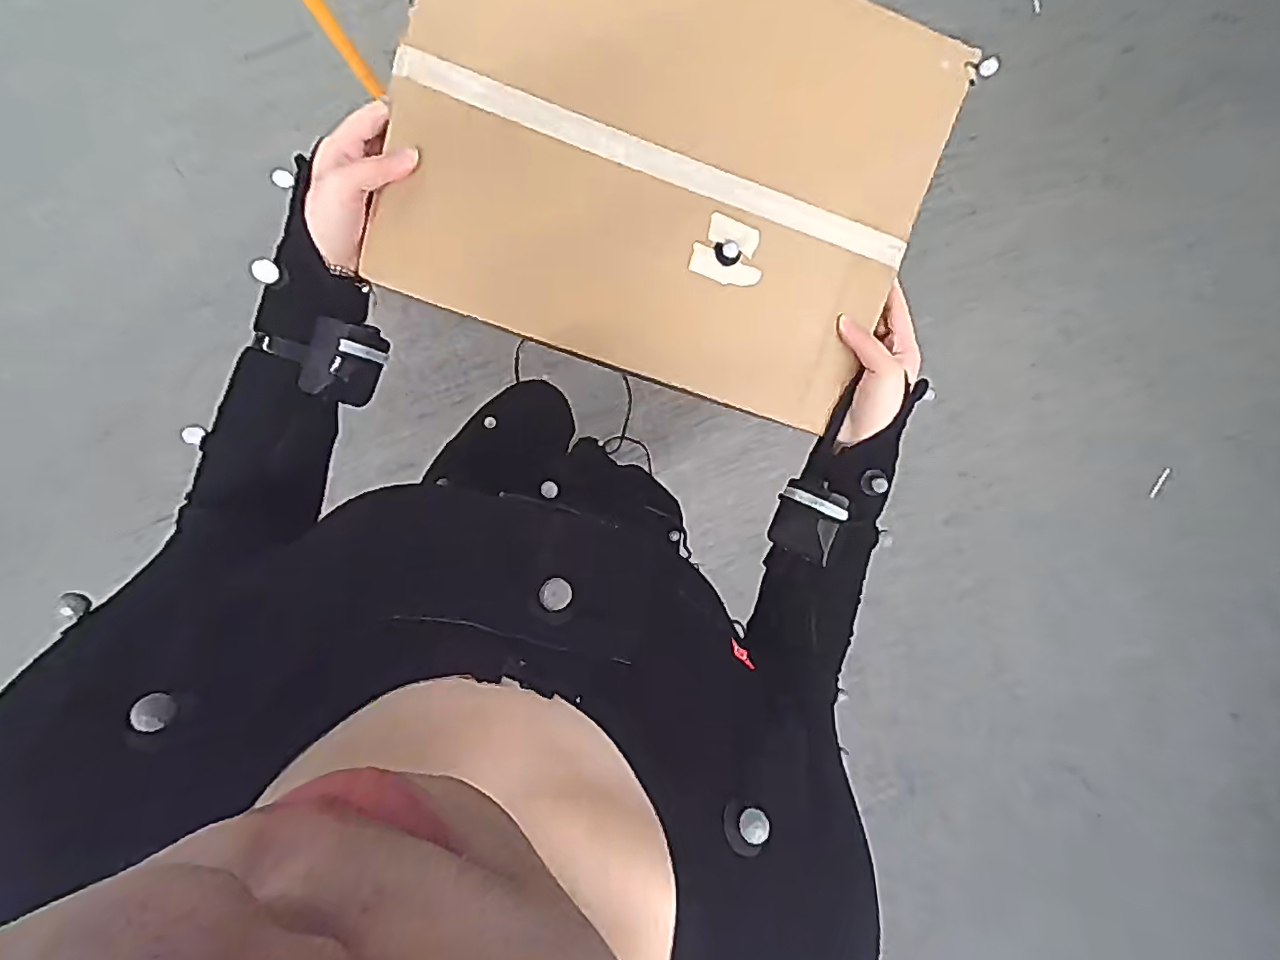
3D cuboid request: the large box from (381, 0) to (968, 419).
[{"bbox_3d":[0.014,-0.280,0.570,0.408,0.320,0.320,18,101,-9],"label":"large box"}]
